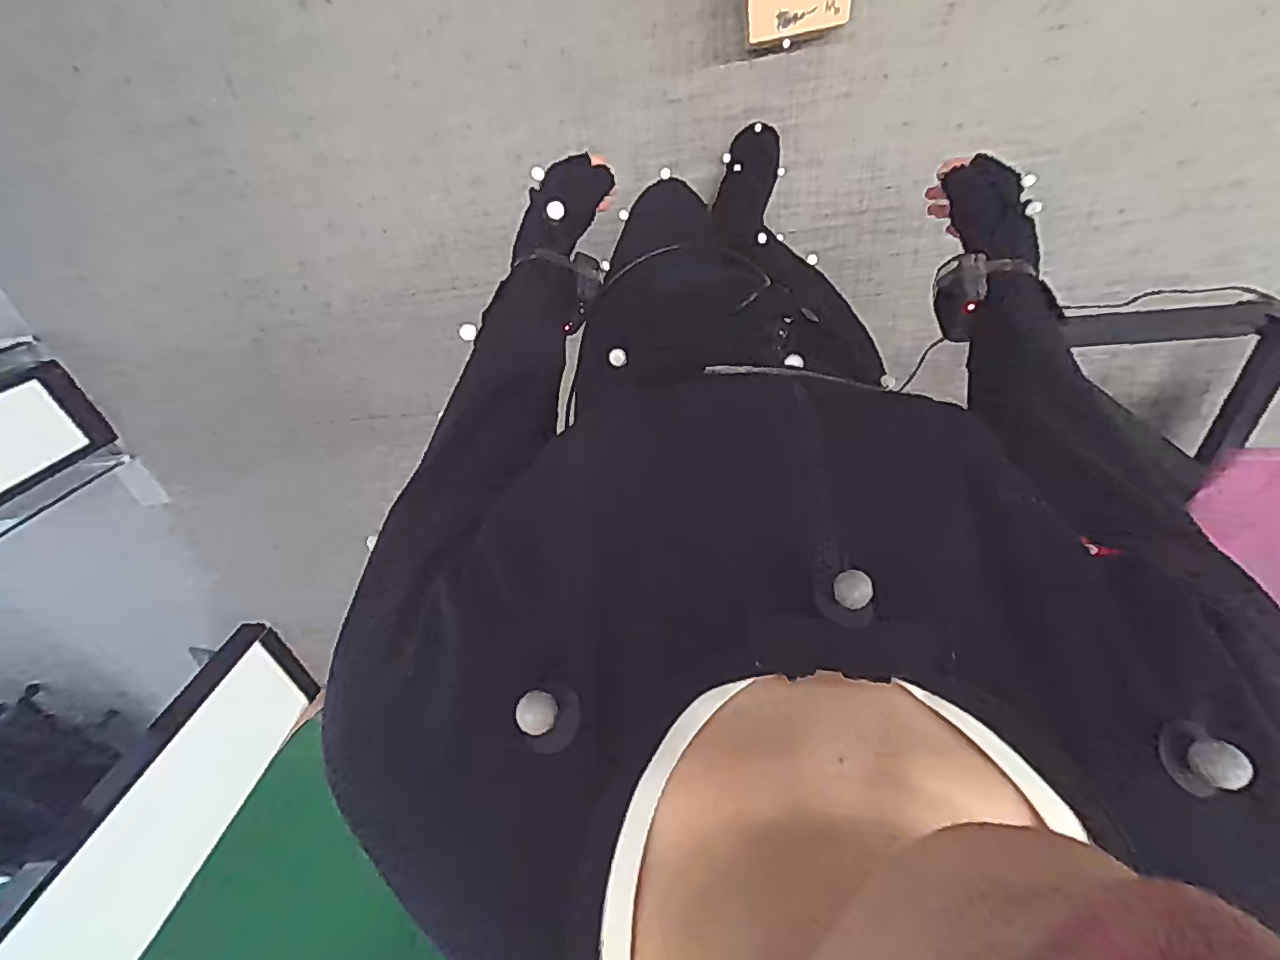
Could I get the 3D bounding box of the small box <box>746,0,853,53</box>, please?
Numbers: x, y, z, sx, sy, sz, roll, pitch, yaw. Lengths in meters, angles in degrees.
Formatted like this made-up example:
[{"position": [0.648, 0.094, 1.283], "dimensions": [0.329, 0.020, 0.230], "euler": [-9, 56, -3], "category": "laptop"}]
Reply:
[{"position": [0.269, -0.868, 0.932], "dimensions": [0.168, 0.176, 0.179], "euler": [-3, 123, 11], "category": "small box"}]
